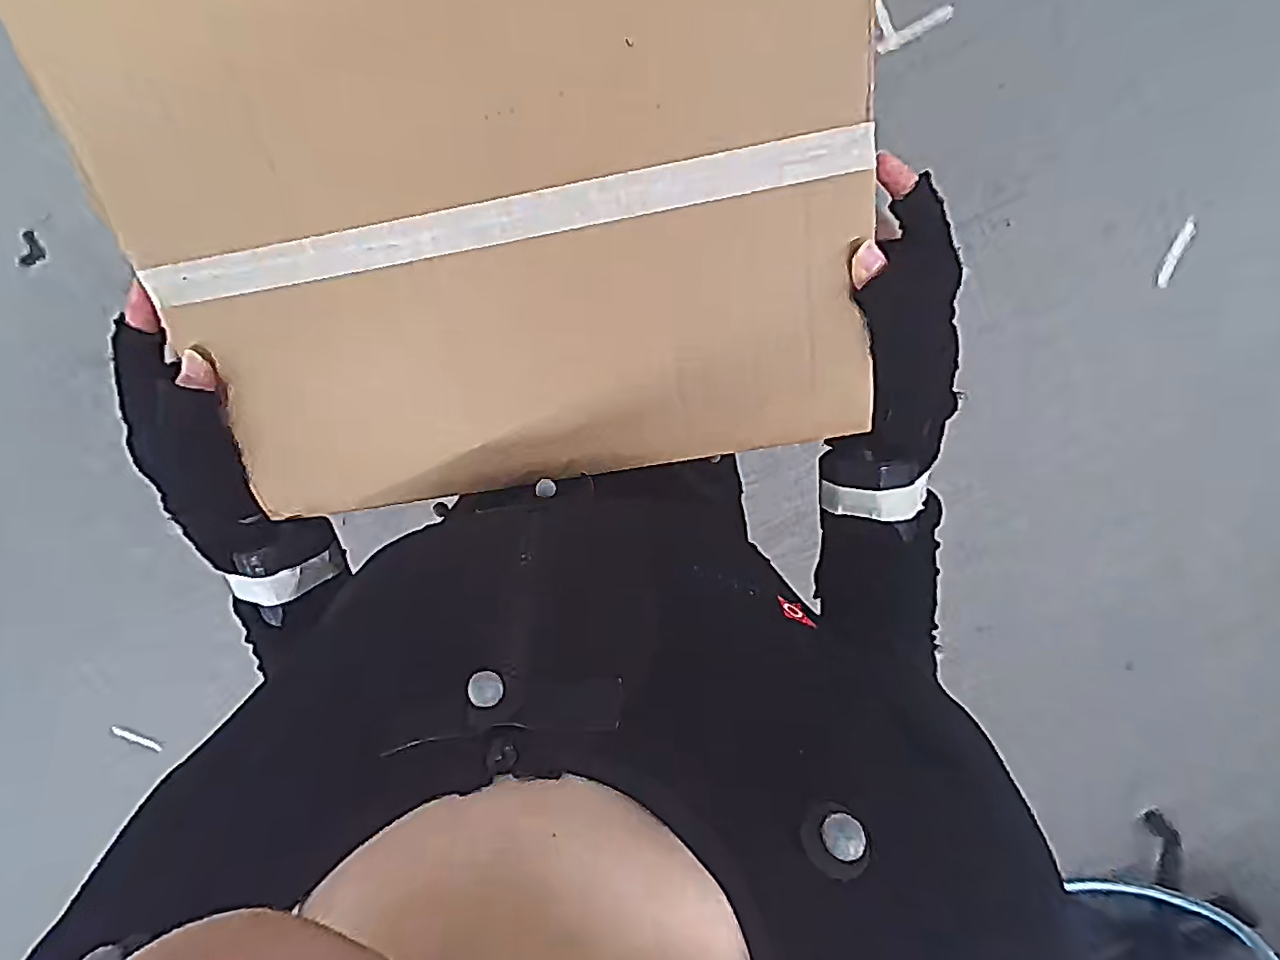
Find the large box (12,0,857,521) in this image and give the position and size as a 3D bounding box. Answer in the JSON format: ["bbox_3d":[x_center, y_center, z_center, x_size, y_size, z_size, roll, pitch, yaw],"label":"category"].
[{"bbox_3d":[-0.081,-0.204,0.438,0.408,0.320,0.320,-10,114,5],"label":"large box"}]
